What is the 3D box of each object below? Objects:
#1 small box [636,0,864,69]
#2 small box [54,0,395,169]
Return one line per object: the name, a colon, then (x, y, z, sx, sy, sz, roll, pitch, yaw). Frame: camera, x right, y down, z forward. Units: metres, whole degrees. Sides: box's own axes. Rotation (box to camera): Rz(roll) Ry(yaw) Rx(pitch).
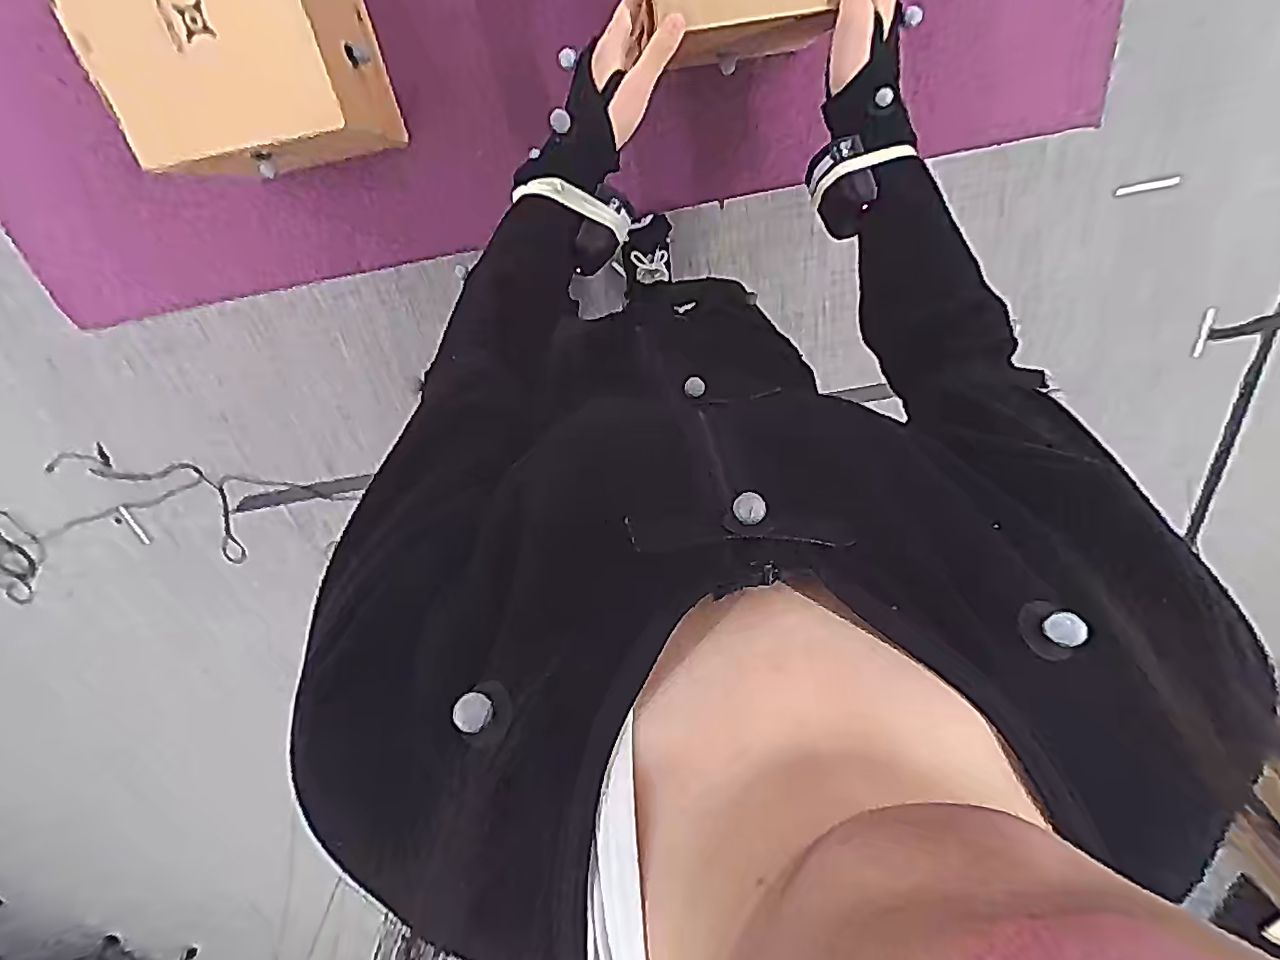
small box: (0.078, -0.468, 0.445, 0.168, 0.176, 0.179, -7, 120, 0)
small box: (-0.338, -0.379, 0.468, 0.179, 0.176, 0.168, -10, 119, 2)
